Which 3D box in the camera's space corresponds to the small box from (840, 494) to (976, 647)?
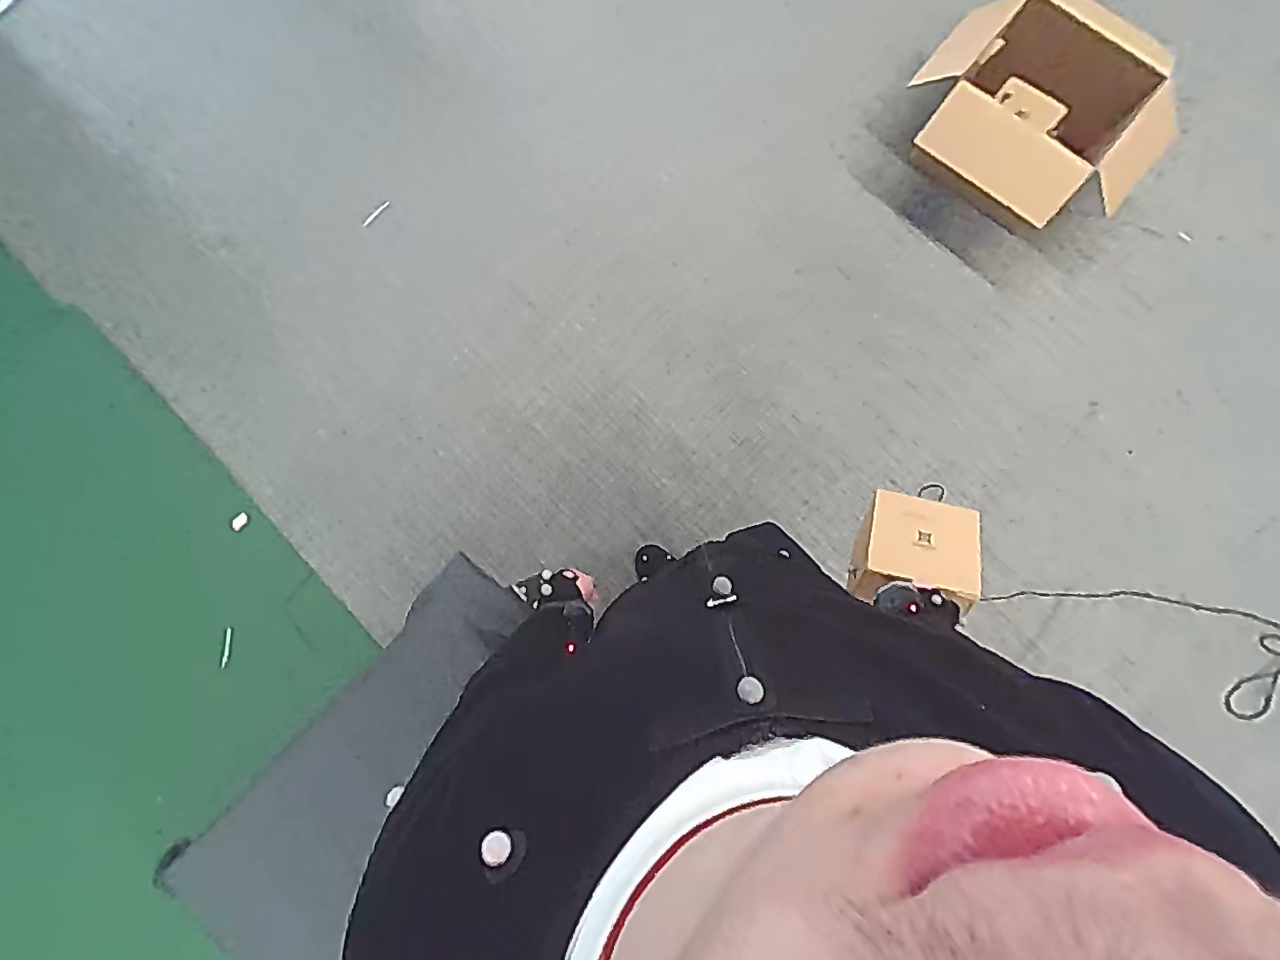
[{"bbox_3d":[0.452,0.157,0.927,0.168,0.176,0.179,15,49,14],"label":"small box"}]
